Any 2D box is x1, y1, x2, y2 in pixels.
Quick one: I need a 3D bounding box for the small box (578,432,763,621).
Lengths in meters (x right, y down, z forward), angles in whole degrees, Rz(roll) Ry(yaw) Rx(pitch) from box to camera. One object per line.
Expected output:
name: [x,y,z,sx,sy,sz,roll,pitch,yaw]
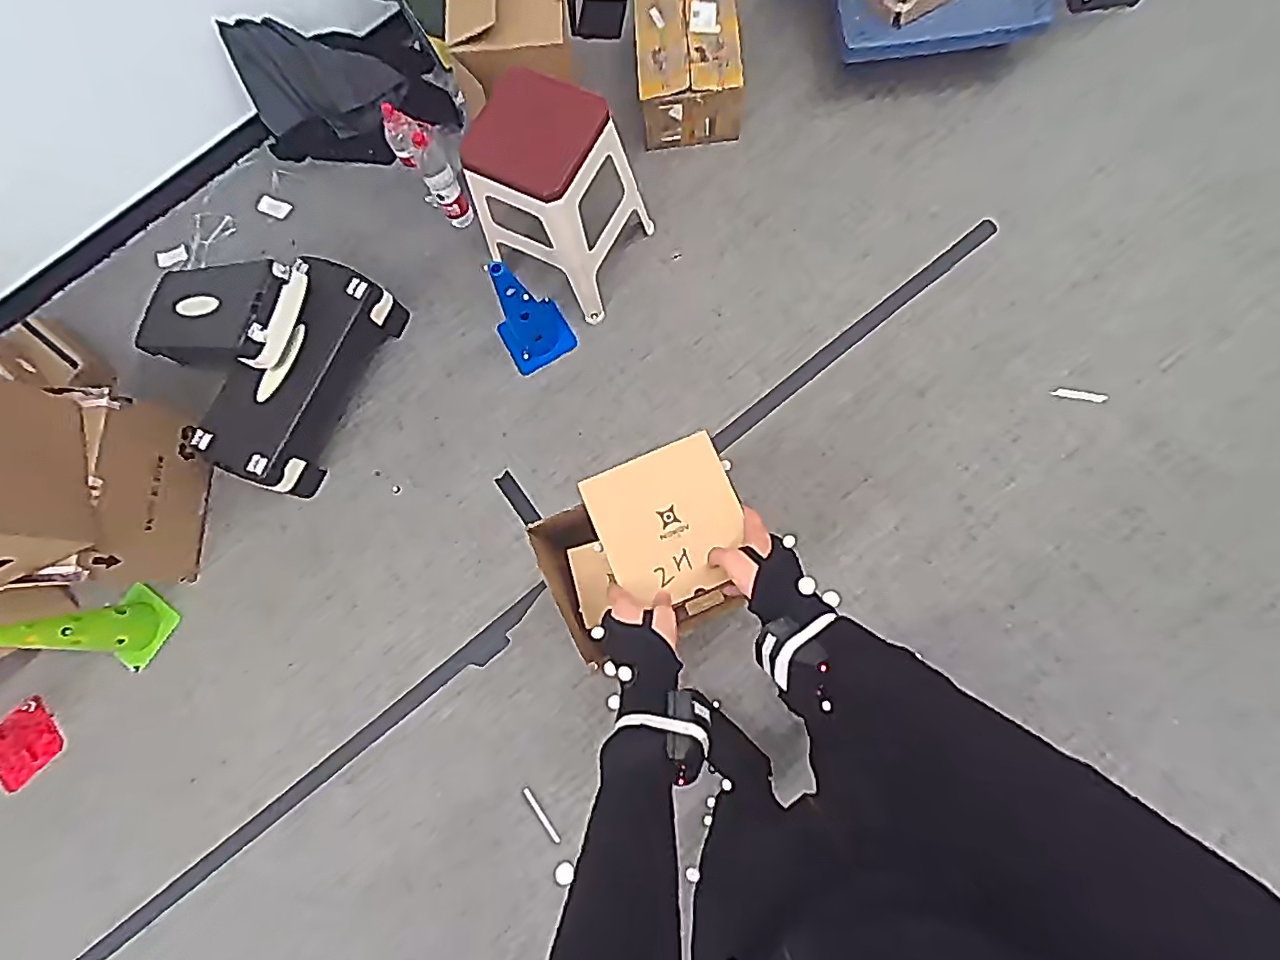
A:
small box: [0.035,0.064,0.697,0.168,0.176,0.179,-23,81,-1]
